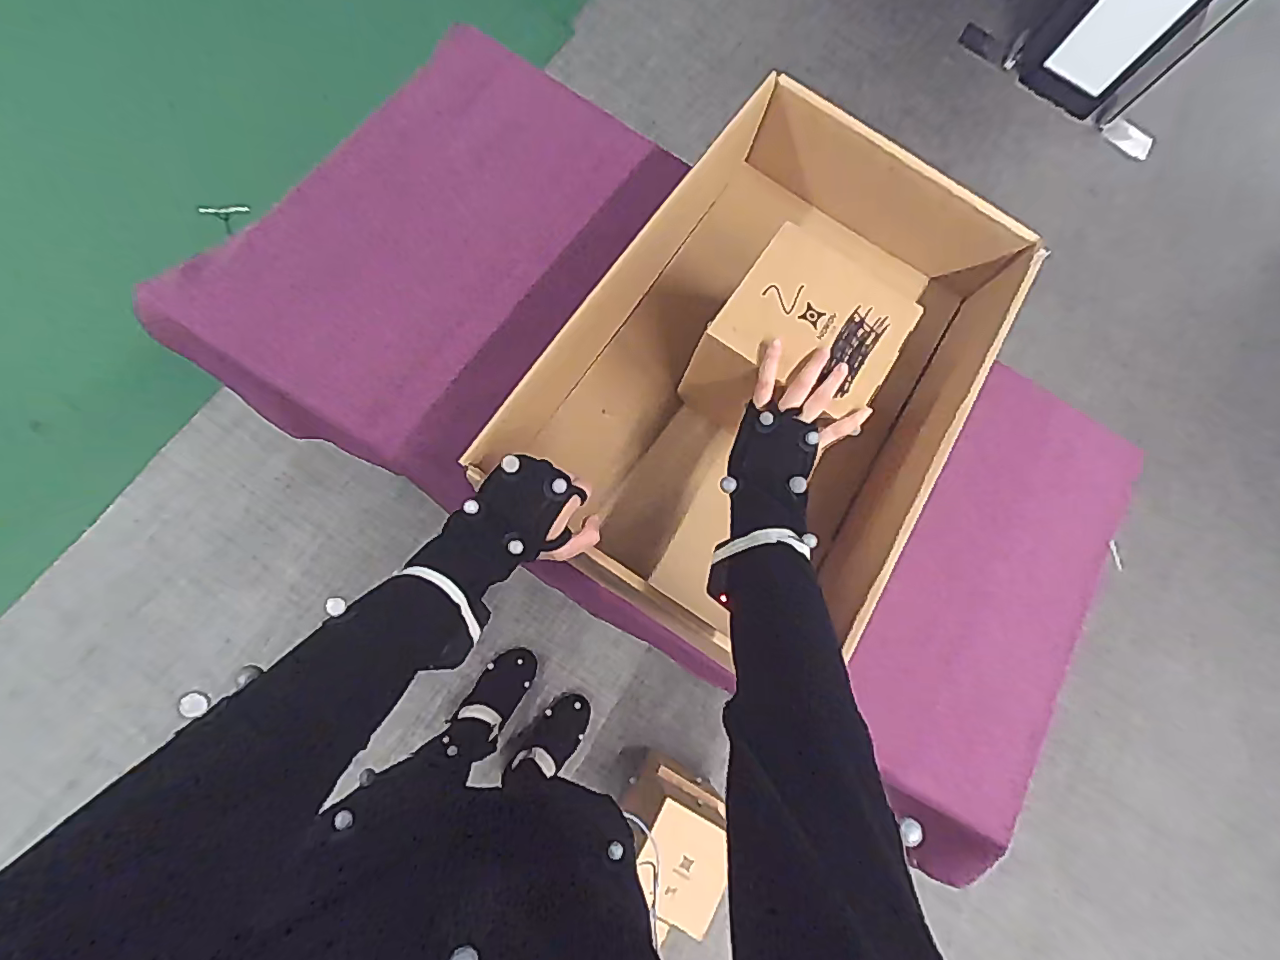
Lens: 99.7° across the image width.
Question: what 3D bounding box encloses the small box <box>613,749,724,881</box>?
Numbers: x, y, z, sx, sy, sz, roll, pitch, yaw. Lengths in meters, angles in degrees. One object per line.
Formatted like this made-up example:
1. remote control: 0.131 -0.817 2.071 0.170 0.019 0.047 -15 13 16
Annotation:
1. small box: 0.057 0.733 1.208 0.179 0.176 0.168 32 74 1

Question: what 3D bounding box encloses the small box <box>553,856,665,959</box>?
1. small box: -0.074 0.937 1.140 0.179 0.176 0.168 28 74 -2
